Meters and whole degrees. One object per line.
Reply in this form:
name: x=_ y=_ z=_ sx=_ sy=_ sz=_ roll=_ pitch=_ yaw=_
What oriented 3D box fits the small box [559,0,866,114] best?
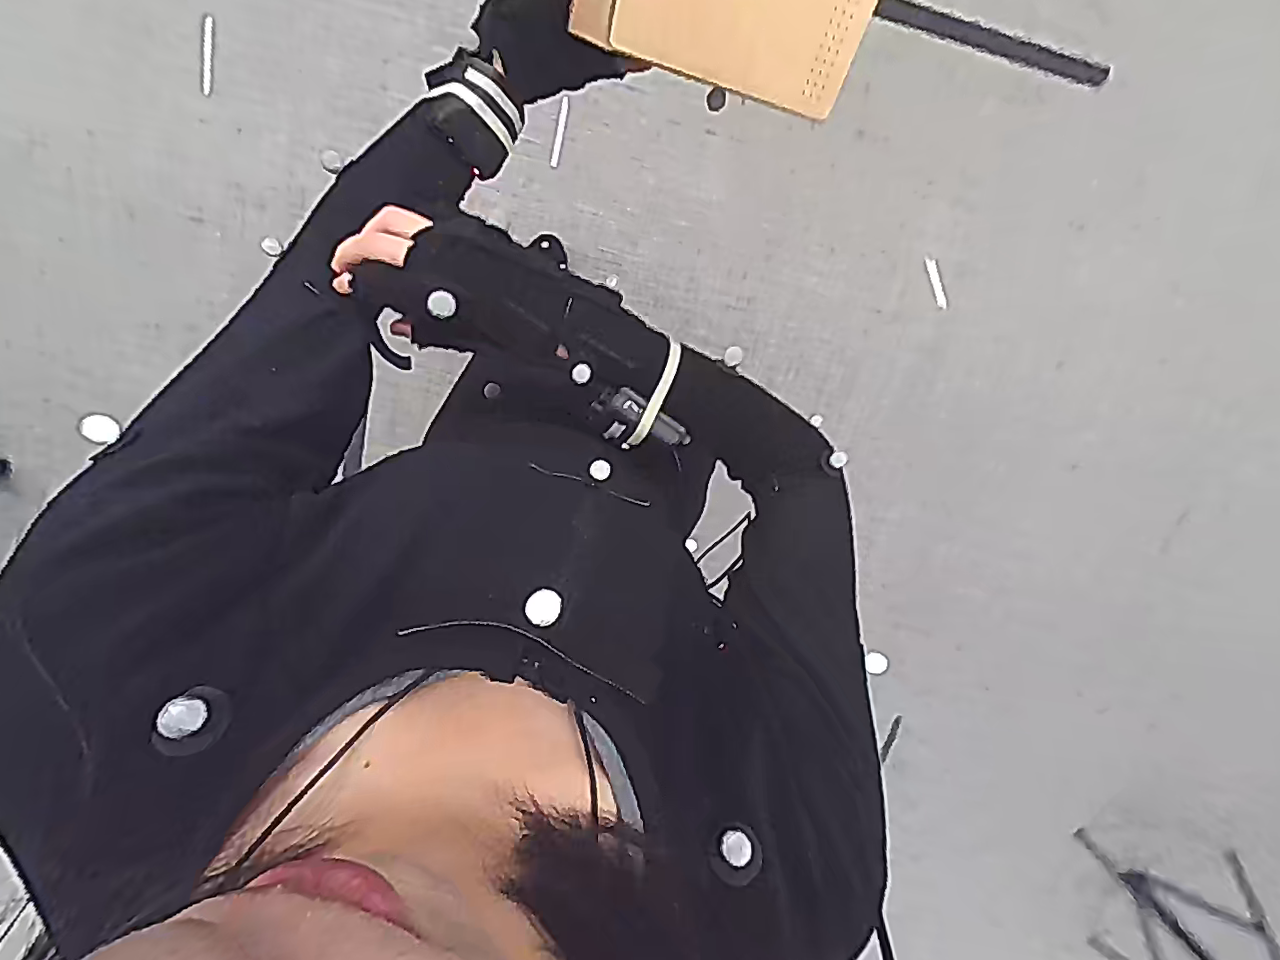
small box: x=0.056 y=-0.373 z=0.349 sx=0.176 sy=0.168 sz=0.179 roll=4 pitch=130 yaw=-21
